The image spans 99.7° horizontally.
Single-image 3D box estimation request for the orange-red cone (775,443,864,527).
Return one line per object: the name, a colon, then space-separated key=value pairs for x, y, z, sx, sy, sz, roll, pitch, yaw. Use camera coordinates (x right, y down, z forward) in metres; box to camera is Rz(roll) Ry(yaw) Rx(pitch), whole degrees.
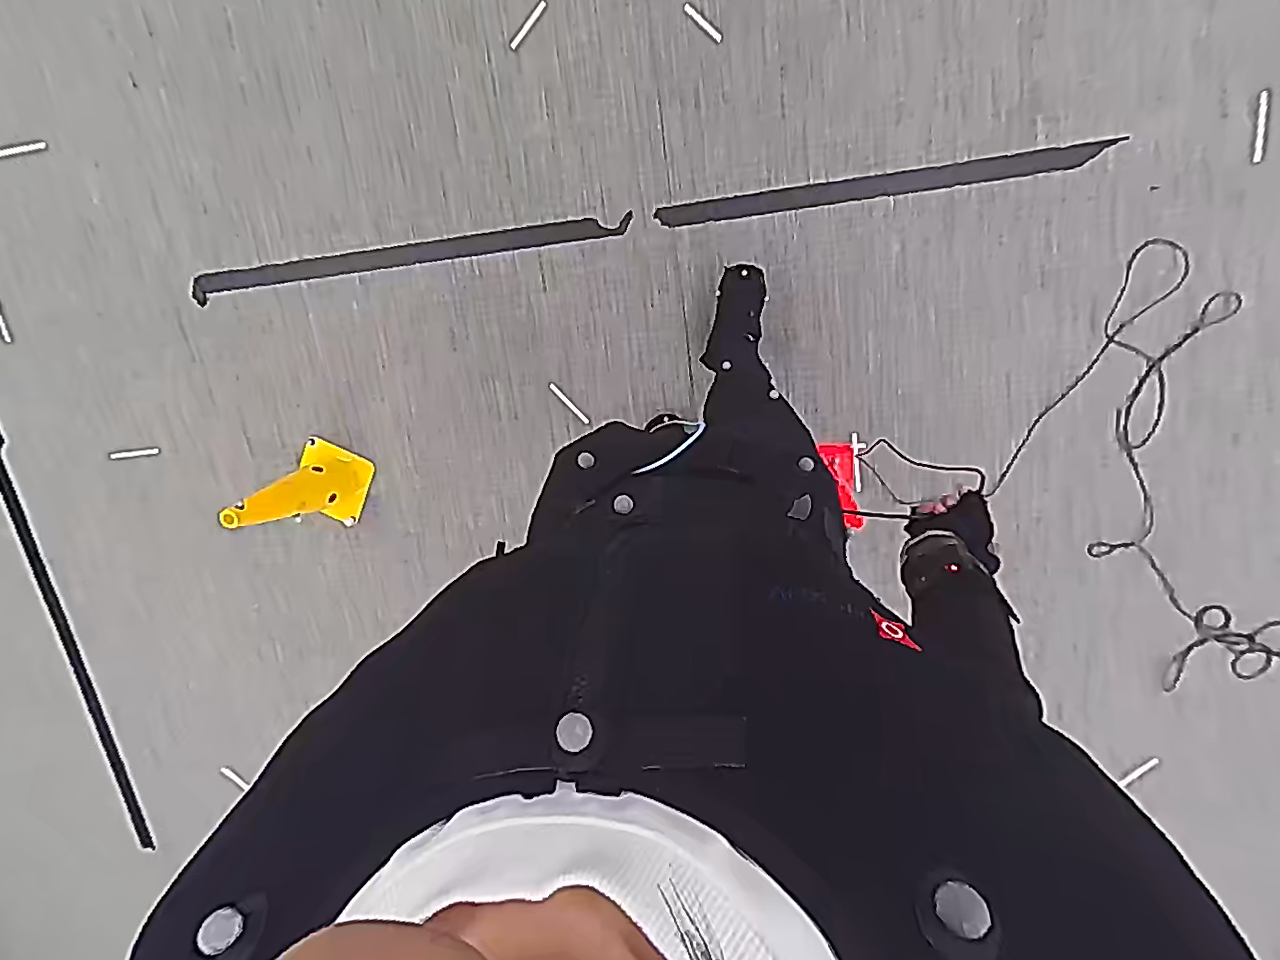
orange-red cone: x=0.431 y=0.039 z=1.217 sx=0.199 sy=0.360 sz=0.198 roll=1 pitch=102 yaw=6
